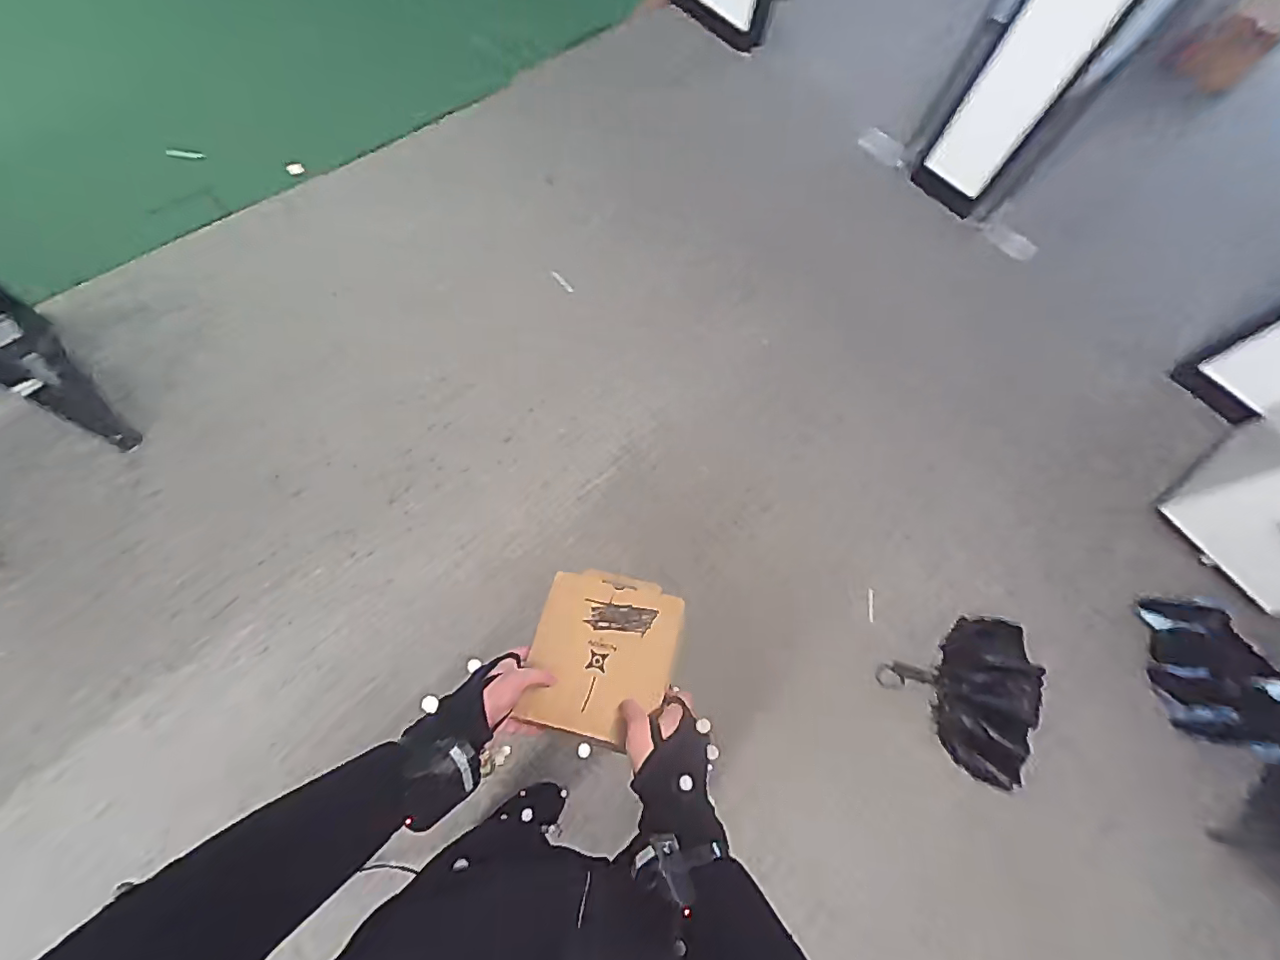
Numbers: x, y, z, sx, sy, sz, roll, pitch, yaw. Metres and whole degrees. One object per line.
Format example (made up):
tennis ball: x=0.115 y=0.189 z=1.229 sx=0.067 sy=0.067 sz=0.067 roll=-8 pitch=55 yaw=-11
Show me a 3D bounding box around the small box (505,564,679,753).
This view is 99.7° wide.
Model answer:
small box: x=-0.048 y=0.233 z=0.692 sx=0.168 sy=0.176 sz=0.179 roll=10 pitch=61 yaw=10
